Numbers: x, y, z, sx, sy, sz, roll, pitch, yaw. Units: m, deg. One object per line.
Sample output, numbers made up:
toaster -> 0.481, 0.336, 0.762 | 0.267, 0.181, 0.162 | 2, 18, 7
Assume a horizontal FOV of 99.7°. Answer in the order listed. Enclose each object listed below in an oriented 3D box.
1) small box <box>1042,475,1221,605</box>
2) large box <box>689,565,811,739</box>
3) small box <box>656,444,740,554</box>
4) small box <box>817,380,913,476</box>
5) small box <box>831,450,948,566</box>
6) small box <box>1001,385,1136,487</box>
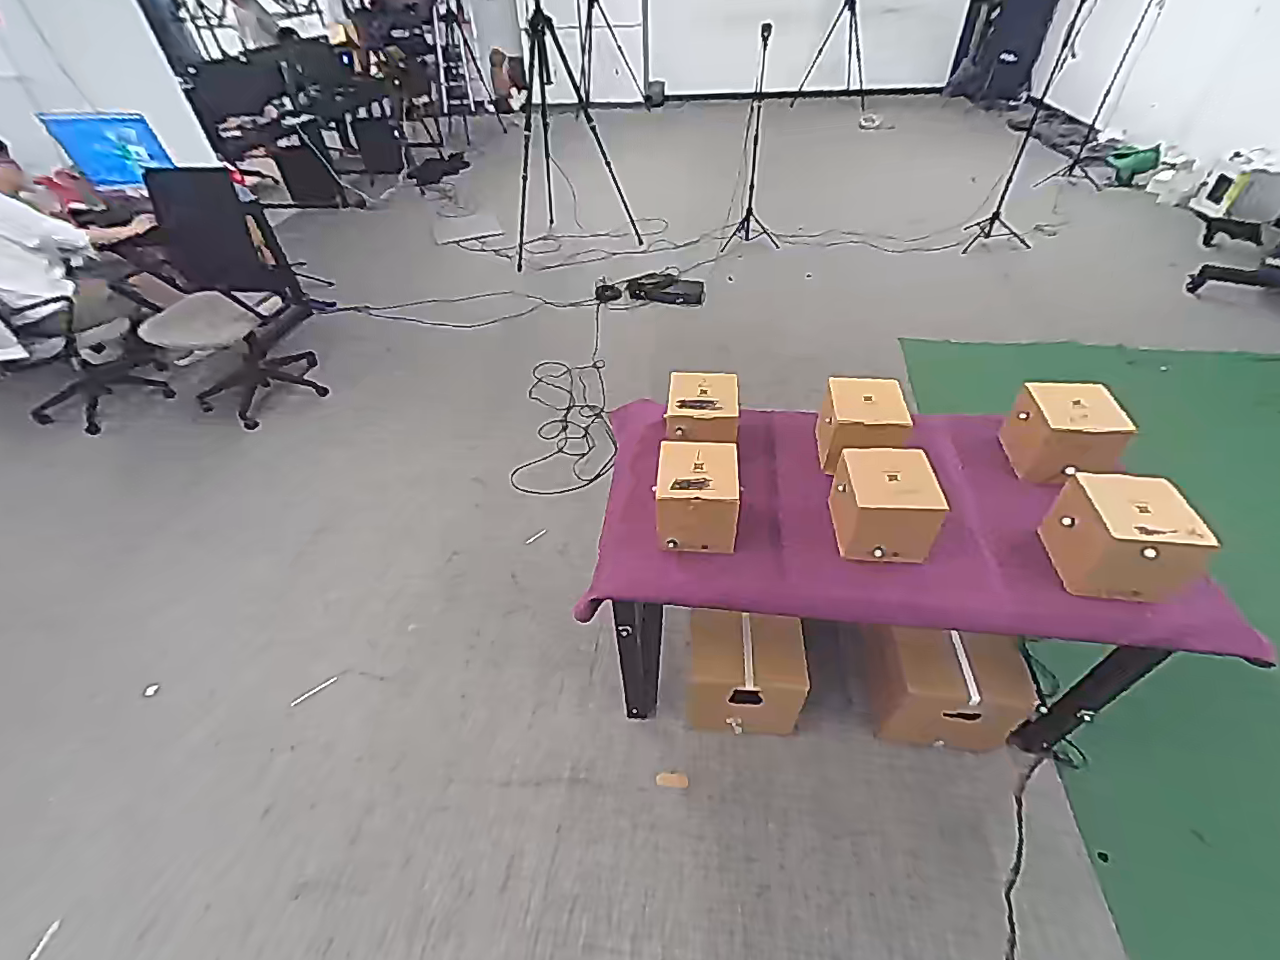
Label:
small box -> 0.921, 0.113, 1.039 | 0.168, 0.176, 0.179 | 3, 41, 10
large box -> 0.304, 0.512, 1.624 | 0.320, 0.320, 0.408 | 2, 43, 5
small box -> 0.126, 0.043, 1.167 | 0.168, 0.176, 0.179 | 2, 42, 5
small box -> 0.537, -0.121, 1.318 | 0.168, 0.176, 0.179 | 4, 45, 7
small box -> 0.508, 0.057, 1.130 | 0.168, 0.176, 0.179 | 1, 43, 7
small box -> 0.981, -0.103, 1.261 | 0.168, 0.176, 0.179 | 3, 45, 10
